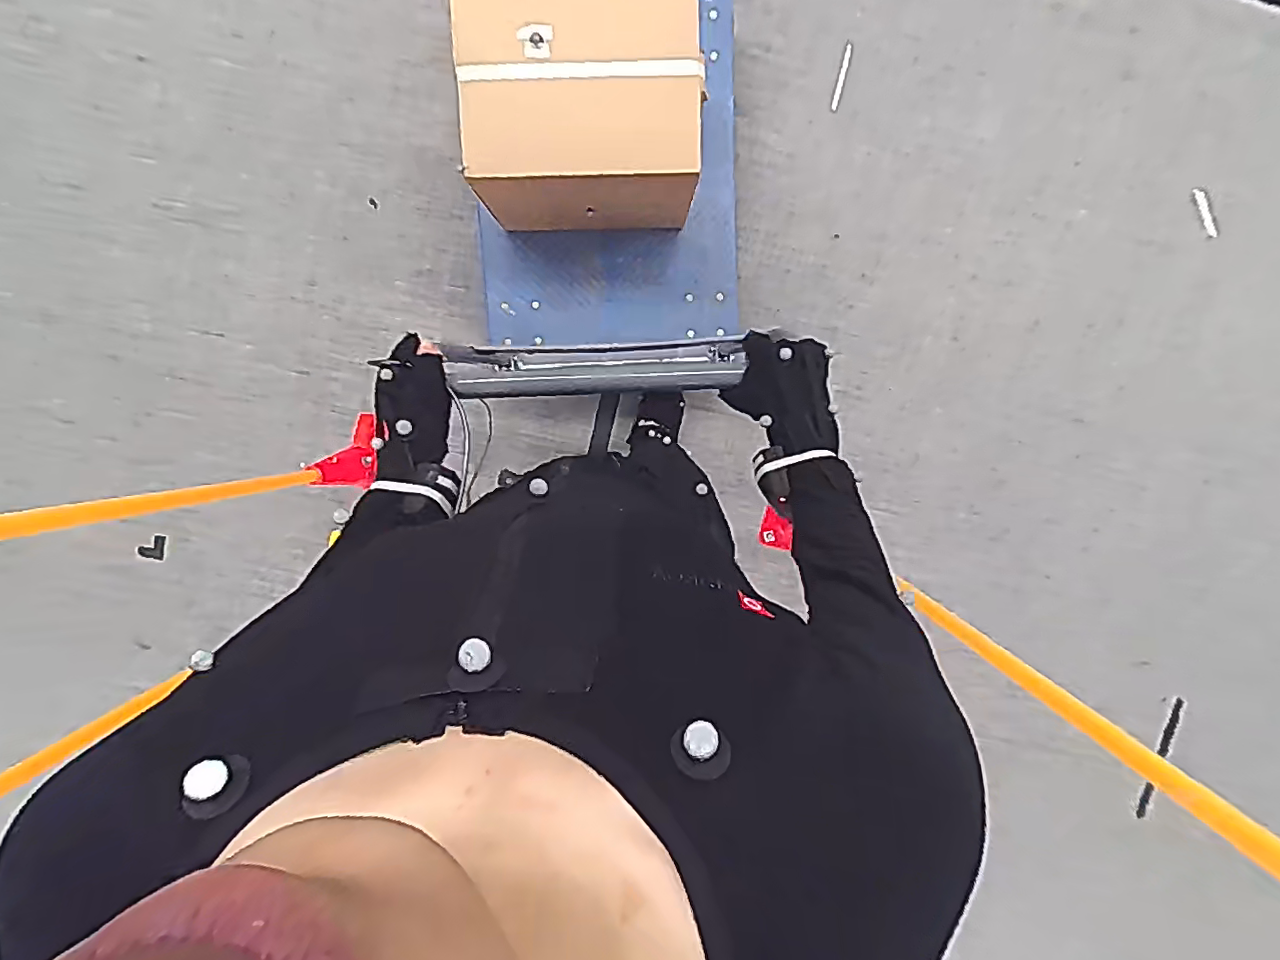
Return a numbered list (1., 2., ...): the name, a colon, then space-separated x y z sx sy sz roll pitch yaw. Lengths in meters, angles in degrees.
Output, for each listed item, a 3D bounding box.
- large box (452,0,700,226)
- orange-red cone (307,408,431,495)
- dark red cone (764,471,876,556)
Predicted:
1. large box: -0.102 -0.697 1.040 0.408 0.320 0.320 -2 99 0
2. orange-red cone: -0.668 -0.051 1.273 0.198 0.360 0.199 20 96 -5
3. dark red cone: 0.454 0.111 1.298 0.201 0.394 0.202 12 98 -5
